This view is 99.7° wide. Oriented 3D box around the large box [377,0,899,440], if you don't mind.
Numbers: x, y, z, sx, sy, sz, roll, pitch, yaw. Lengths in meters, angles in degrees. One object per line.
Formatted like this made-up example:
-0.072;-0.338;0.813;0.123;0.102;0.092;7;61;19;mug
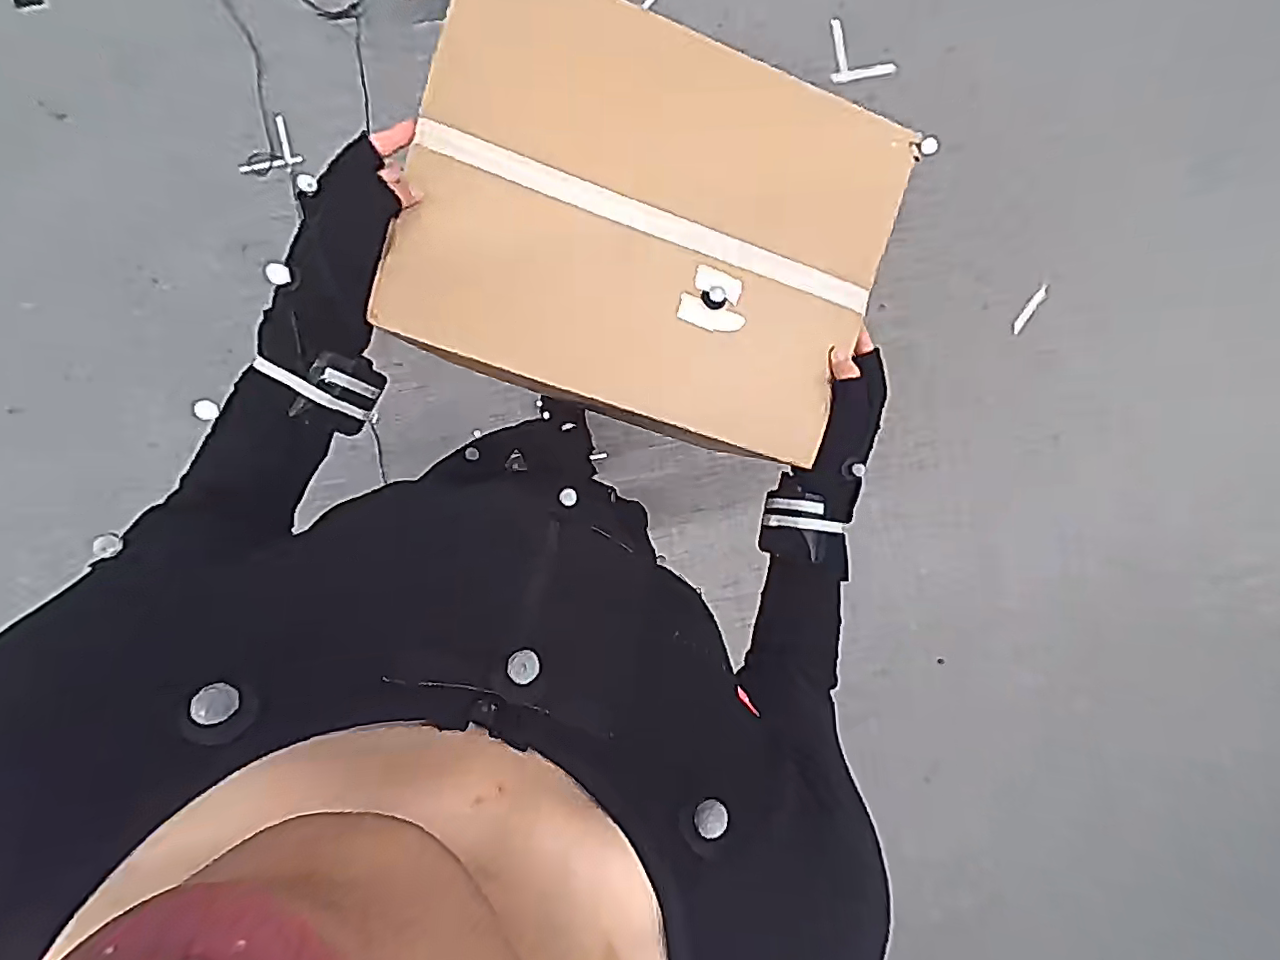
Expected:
-0.013;-0.245;0.615;0.408;0.320;0.320;16;94;-9;large box
